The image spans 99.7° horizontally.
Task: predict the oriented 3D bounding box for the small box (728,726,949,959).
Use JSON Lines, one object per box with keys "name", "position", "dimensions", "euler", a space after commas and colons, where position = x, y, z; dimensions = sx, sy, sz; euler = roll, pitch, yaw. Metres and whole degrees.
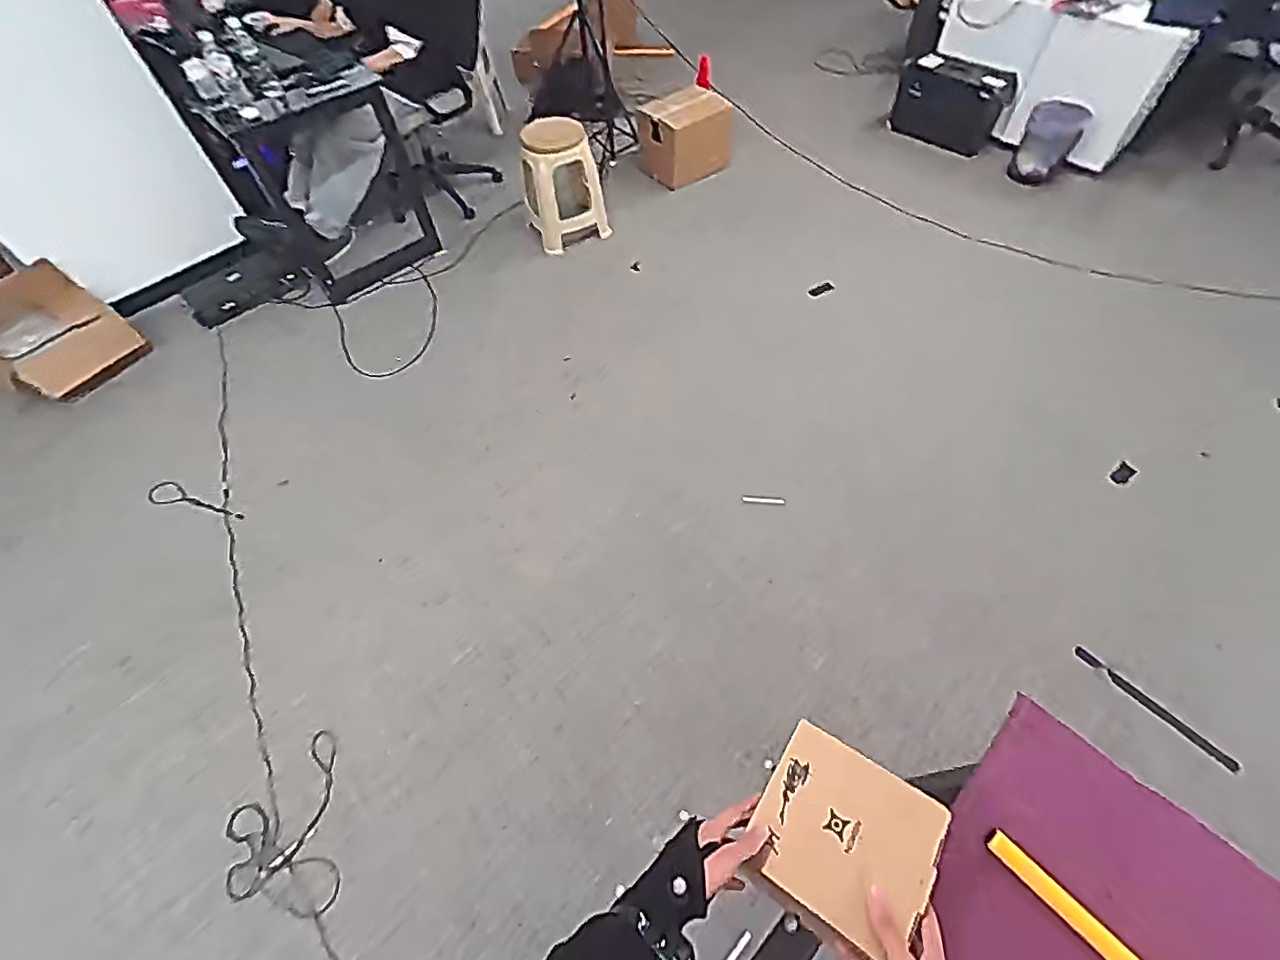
{"name": "small box", "position": [0.219, 0.430, 0.635], "dimensions": [0.179, 0.176, 0.168], "euler": [27, 58, 25]}
